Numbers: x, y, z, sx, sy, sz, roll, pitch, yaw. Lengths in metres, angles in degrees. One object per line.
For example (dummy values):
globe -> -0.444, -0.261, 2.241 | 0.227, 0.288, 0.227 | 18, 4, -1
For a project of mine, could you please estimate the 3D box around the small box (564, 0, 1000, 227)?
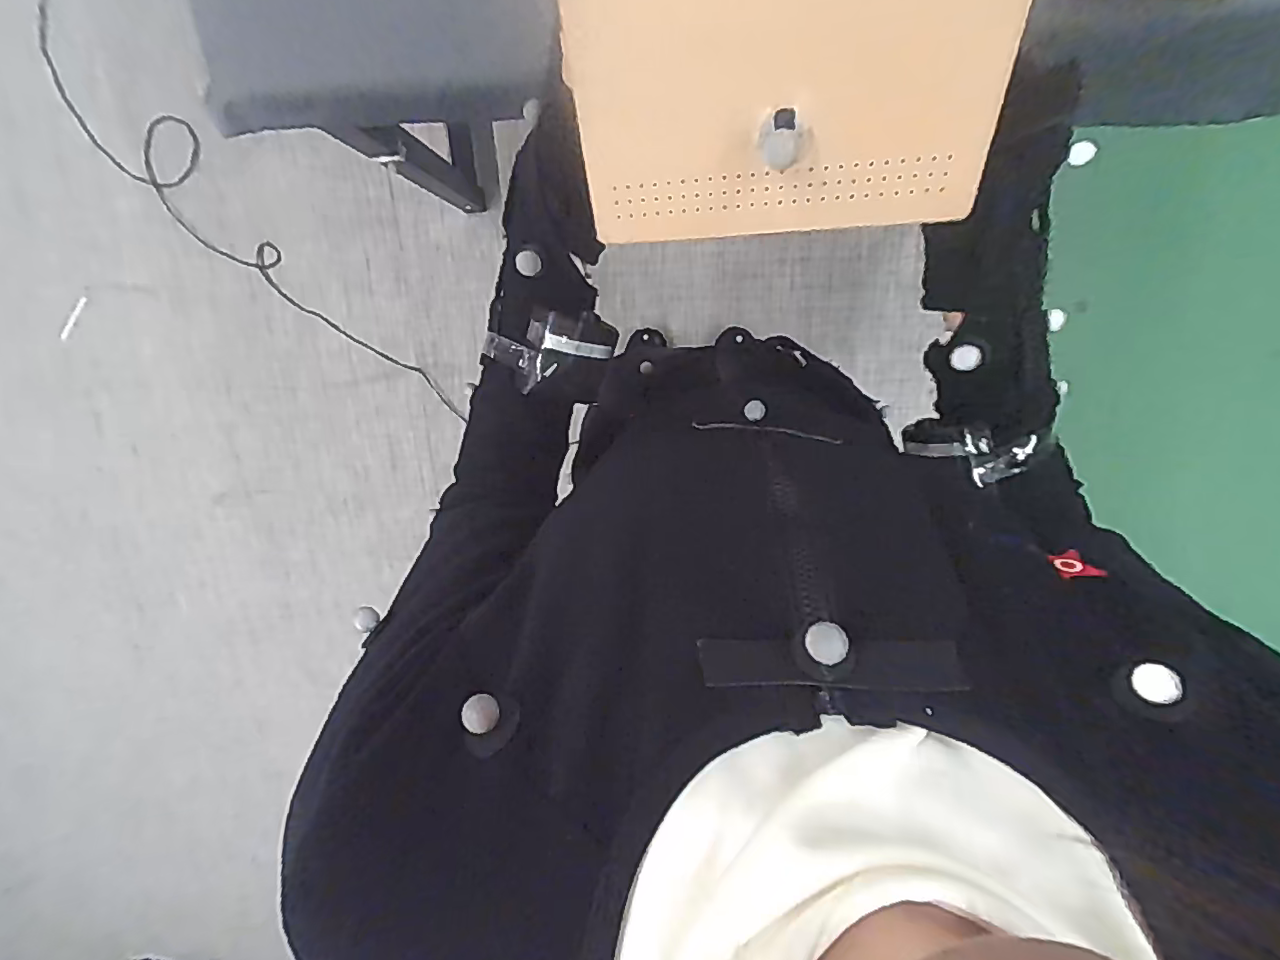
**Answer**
small box -> 0.063, -0.243, 0.265 | 0.179, 0.168, 0.176 | -1, 135, 9
